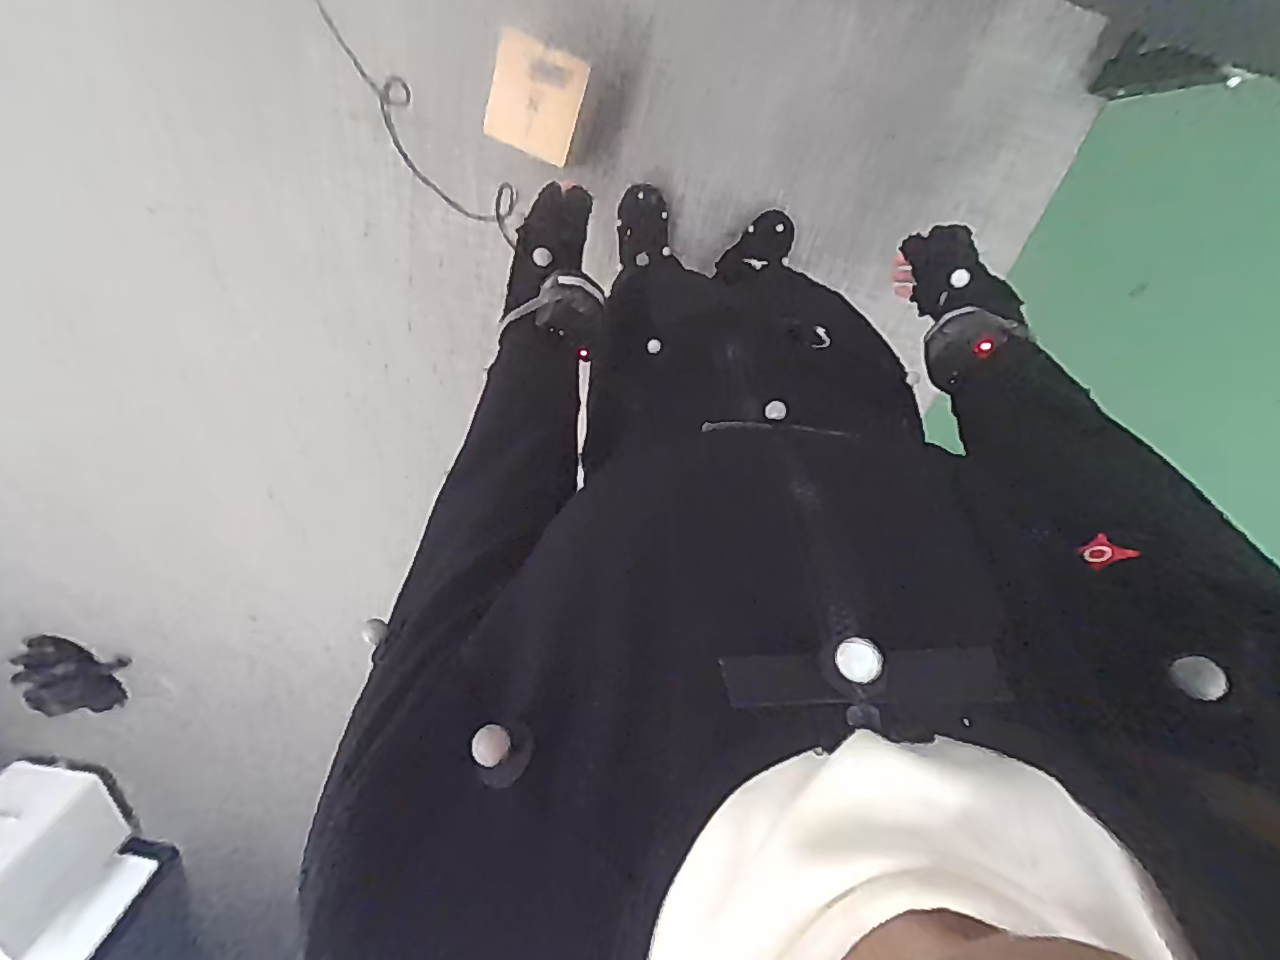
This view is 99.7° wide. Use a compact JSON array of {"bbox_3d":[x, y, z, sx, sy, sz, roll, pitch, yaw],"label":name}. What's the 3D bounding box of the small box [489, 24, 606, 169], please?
[{"bbox_3d":[-0.172,-0.737,1.057,0.168,0.176,0.179,22,121,-6],"label":"small box"}]
